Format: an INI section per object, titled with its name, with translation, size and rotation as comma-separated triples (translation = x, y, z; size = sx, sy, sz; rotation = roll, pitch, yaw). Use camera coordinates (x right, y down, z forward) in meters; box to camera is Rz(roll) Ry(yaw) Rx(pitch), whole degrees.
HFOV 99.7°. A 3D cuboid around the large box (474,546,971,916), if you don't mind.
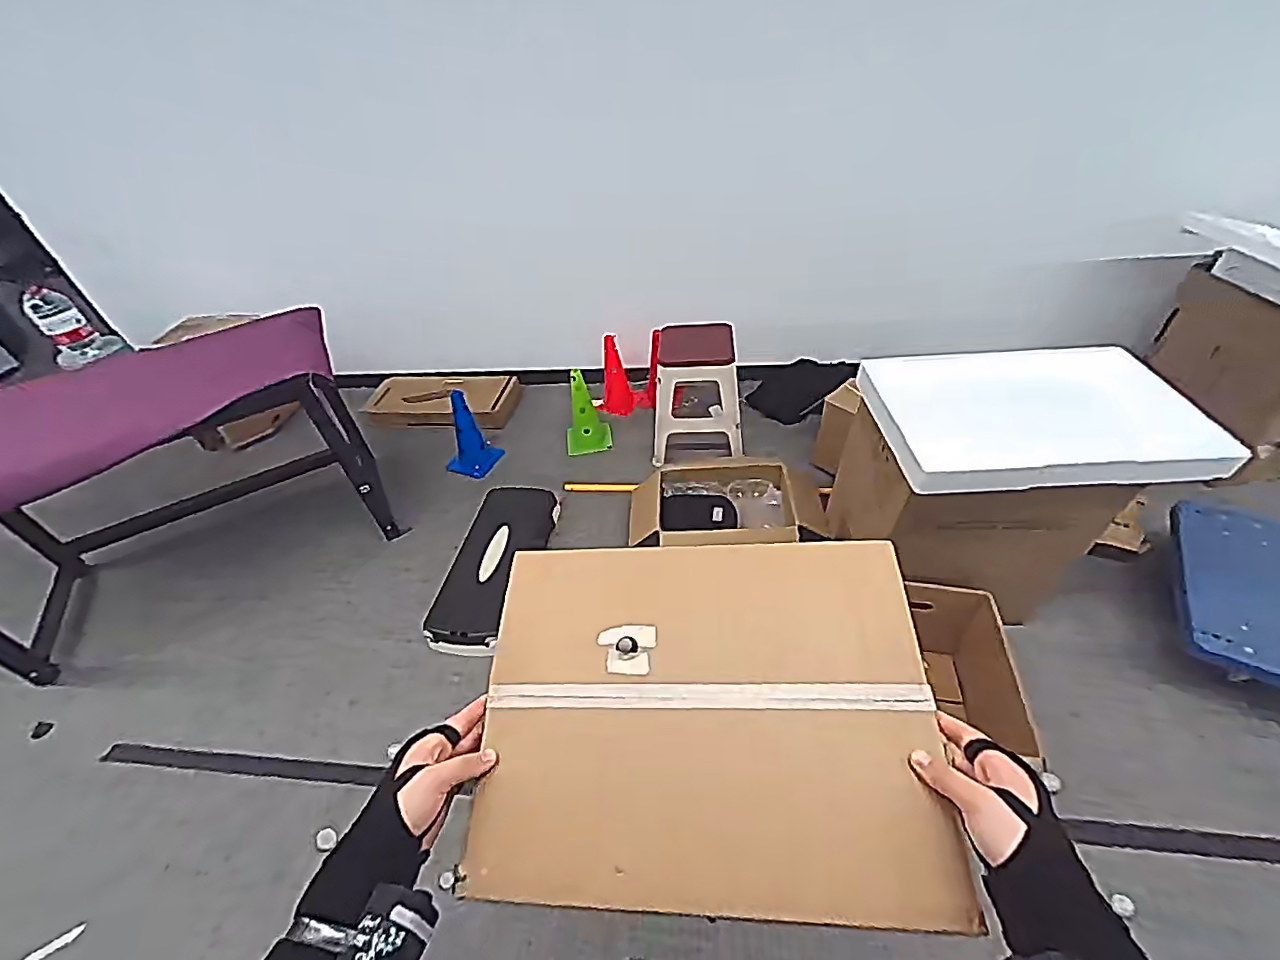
[large box]
translation = 0.081, 0.294, 0.633
size = 0.408, 0.320, 0.320
rotation = -4, 54, 8
